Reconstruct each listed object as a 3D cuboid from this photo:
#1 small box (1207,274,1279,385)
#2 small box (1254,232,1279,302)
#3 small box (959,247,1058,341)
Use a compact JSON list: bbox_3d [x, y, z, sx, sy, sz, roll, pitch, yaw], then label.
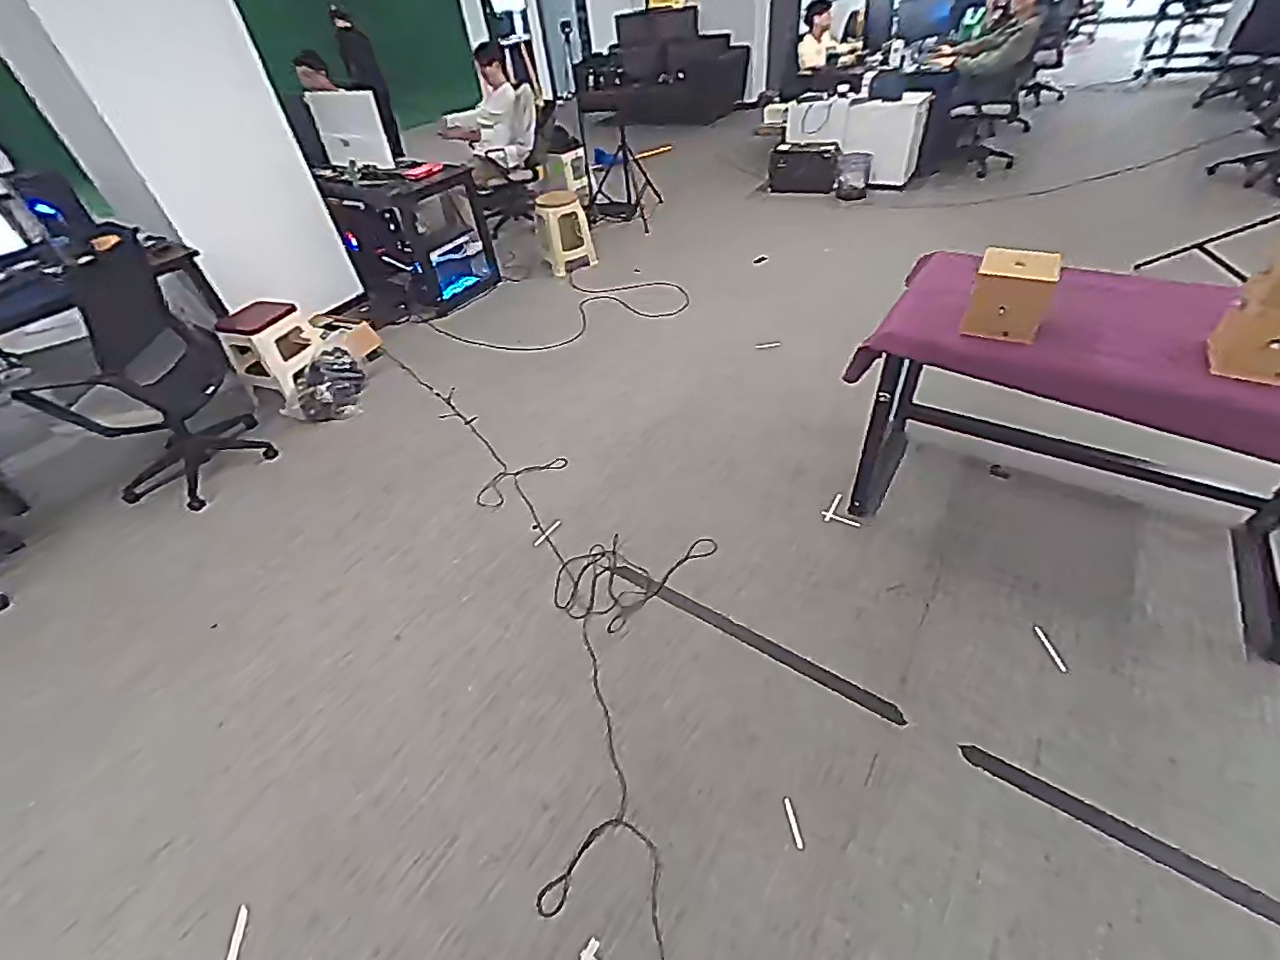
[{"bbox_3d":[1.388,-0.323,1.174,0.168,0.176,0.179,22,50,28],"label":"small box"},{"bbox_3d":[1.375,-0.445,1.065,0.168,0.176,0.179,22,51,29],"label":"small box"},{"bbox_3d":[0.947,-0.480,1.398,0.168,0.176,0.179,19,48,25],"label":"small box"}]
